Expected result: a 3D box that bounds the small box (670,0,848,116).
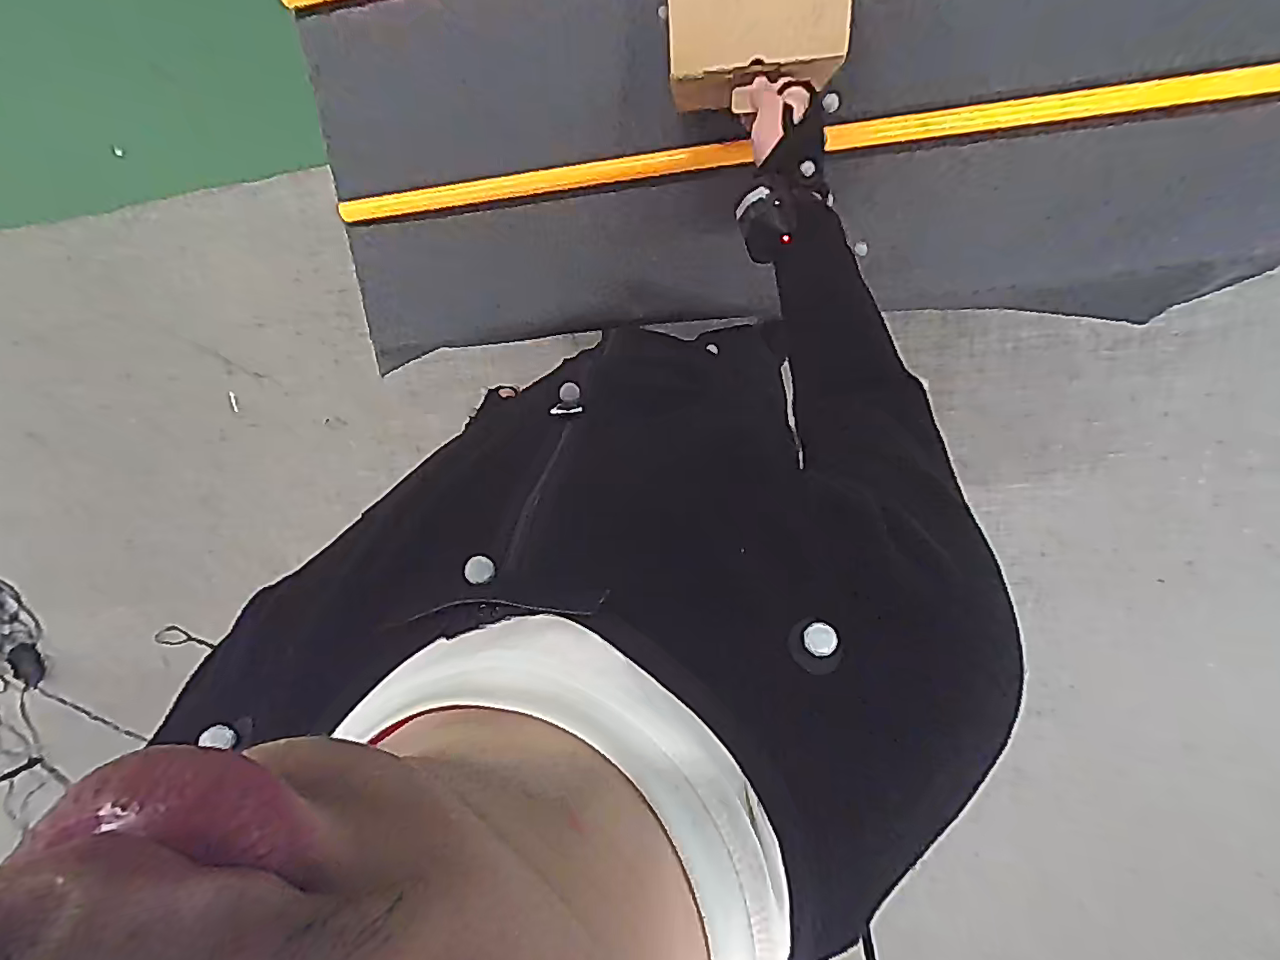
[{"bbox_3d":[0.122,-0.499,0.566,0.168,0.176,0.179,-2,116,11],"label":"small box"}]
